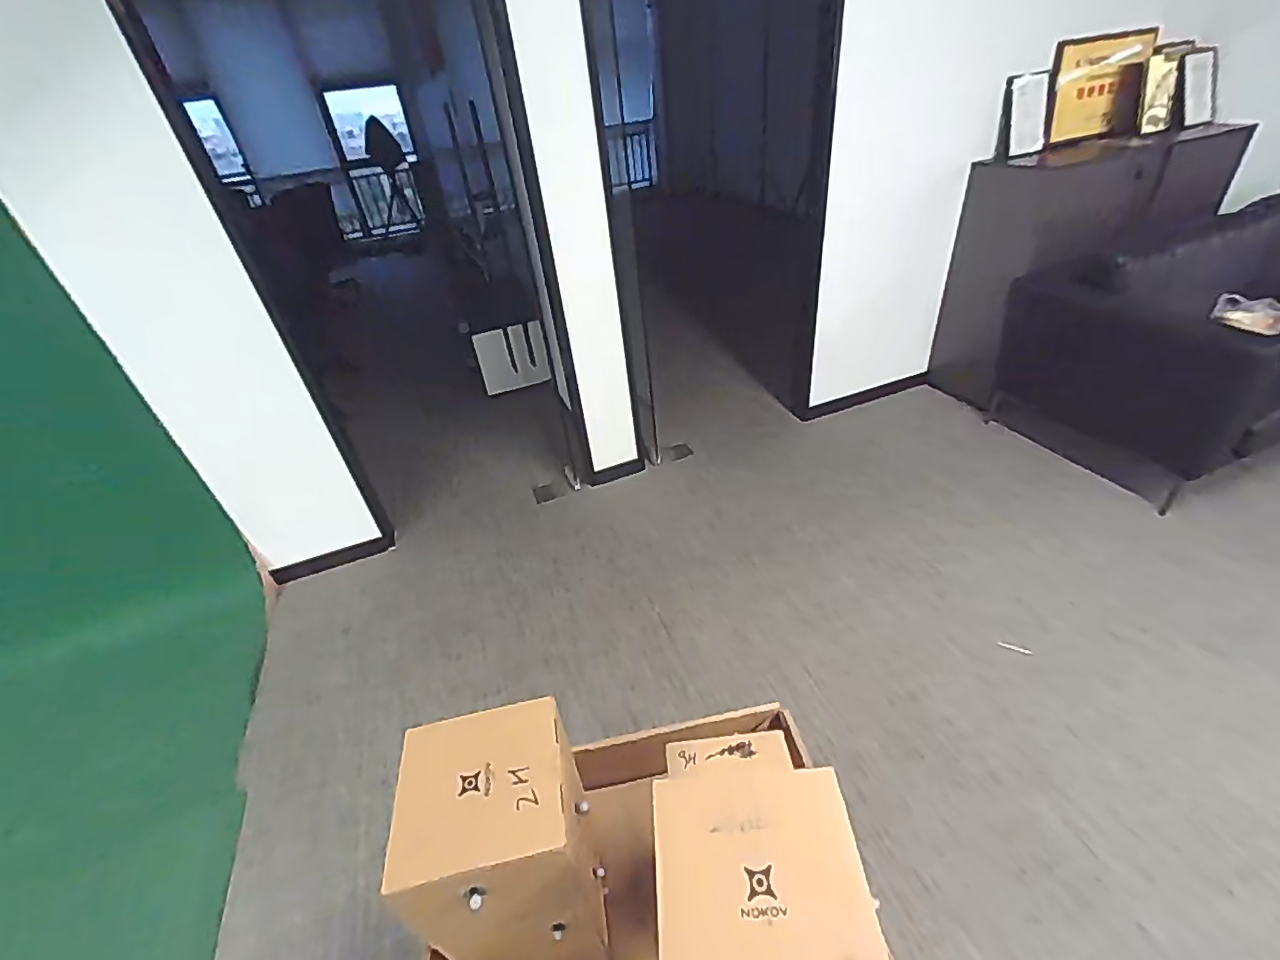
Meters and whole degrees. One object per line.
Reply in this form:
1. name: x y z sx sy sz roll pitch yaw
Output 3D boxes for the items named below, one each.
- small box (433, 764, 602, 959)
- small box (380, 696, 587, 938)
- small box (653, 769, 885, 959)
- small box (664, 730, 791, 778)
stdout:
1. small box: -0.153 0.514 0.716 0.179 0.176 0.168 -9 36 -7
2. small box: -0.165 0.383 0.617 0.179 0.176 0.168 -10 37 -7
3. small box: 0.102 0.382 0.472 0.168 0.176 0.179 -5 38 2
4. small box: 0.125 0.469 0.728 0.168 0.176 0.179 -6 37 0
